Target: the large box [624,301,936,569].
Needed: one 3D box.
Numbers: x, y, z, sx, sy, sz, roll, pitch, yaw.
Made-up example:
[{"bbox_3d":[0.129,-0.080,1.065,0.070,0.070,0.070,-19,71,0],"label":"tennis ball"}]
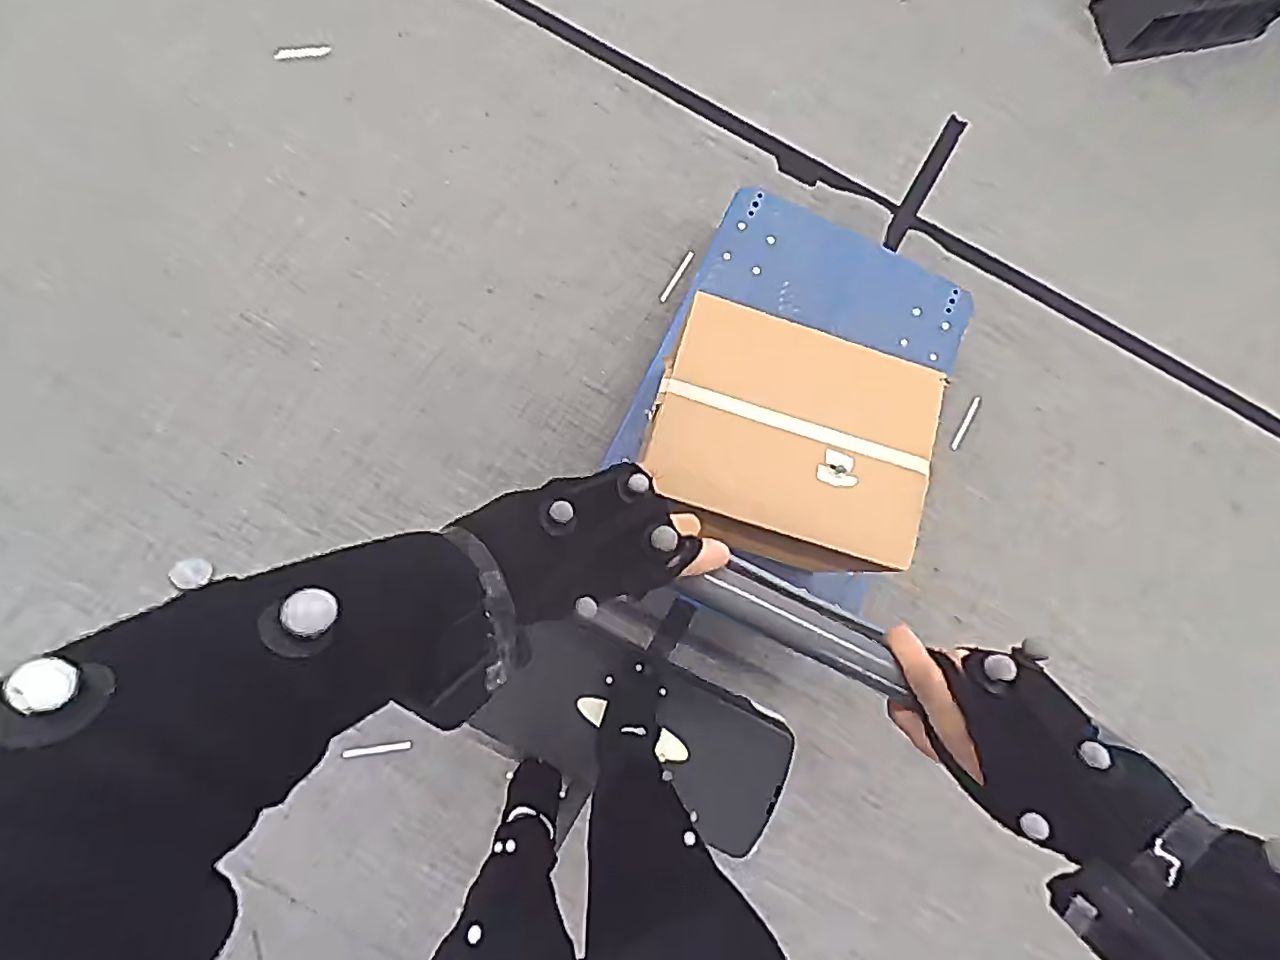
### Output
[{"bbox_3d":[0.212,-0.047,0.938,0.408,0.320,0.320,17,79,-4],"label":"large box"}]
